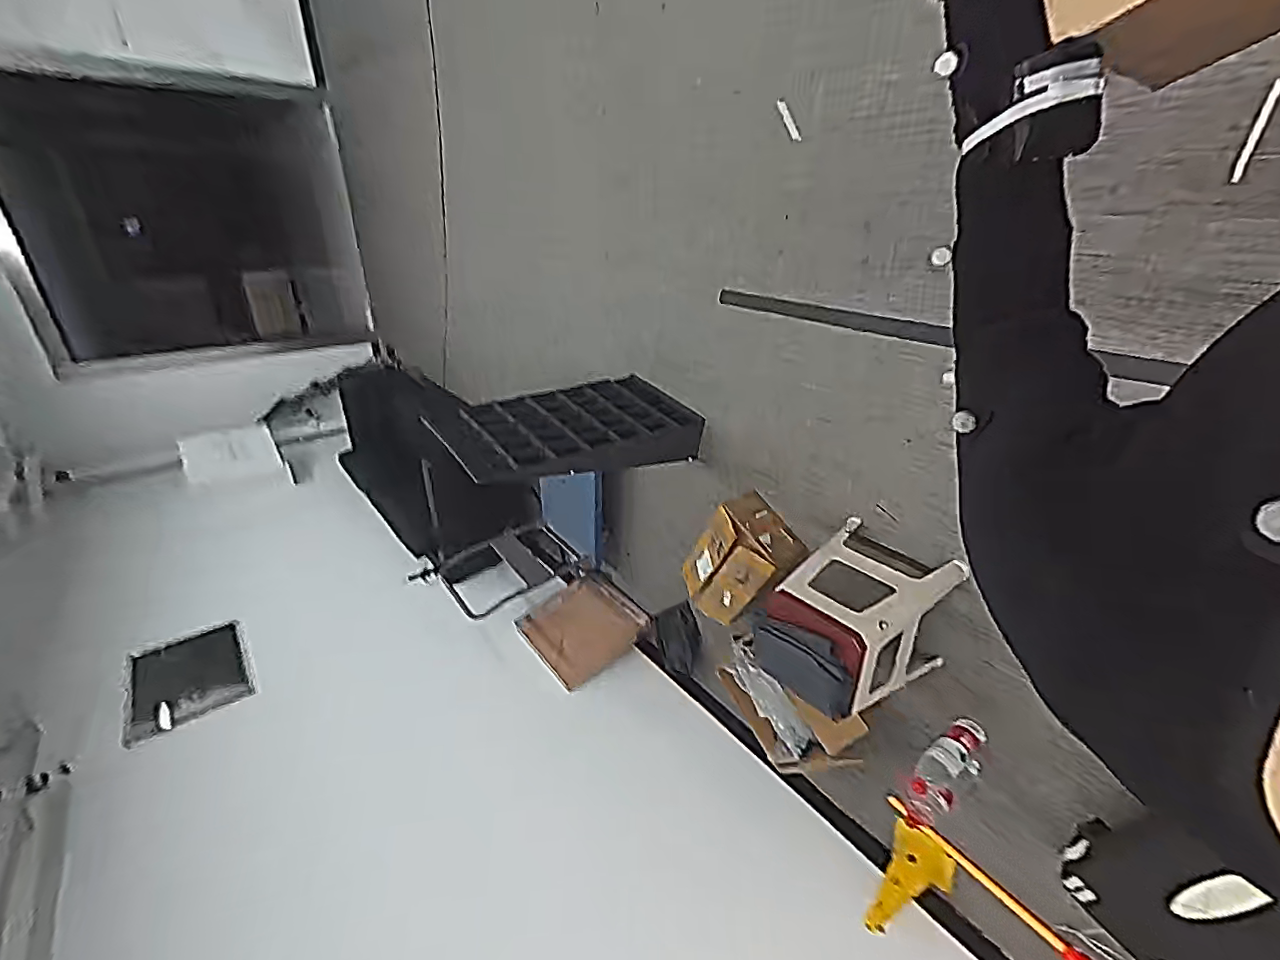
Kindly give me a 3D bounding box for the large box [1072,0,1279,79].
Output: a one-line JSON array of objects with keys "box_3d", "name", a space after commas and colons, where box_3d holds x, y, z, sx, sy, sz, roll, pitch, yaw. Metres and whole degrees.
[{"box_3d": [0.483, -0.508, 0.278, 0.408, 0.320, 0.320, -5, 105, 54], "name": "large box"}]
